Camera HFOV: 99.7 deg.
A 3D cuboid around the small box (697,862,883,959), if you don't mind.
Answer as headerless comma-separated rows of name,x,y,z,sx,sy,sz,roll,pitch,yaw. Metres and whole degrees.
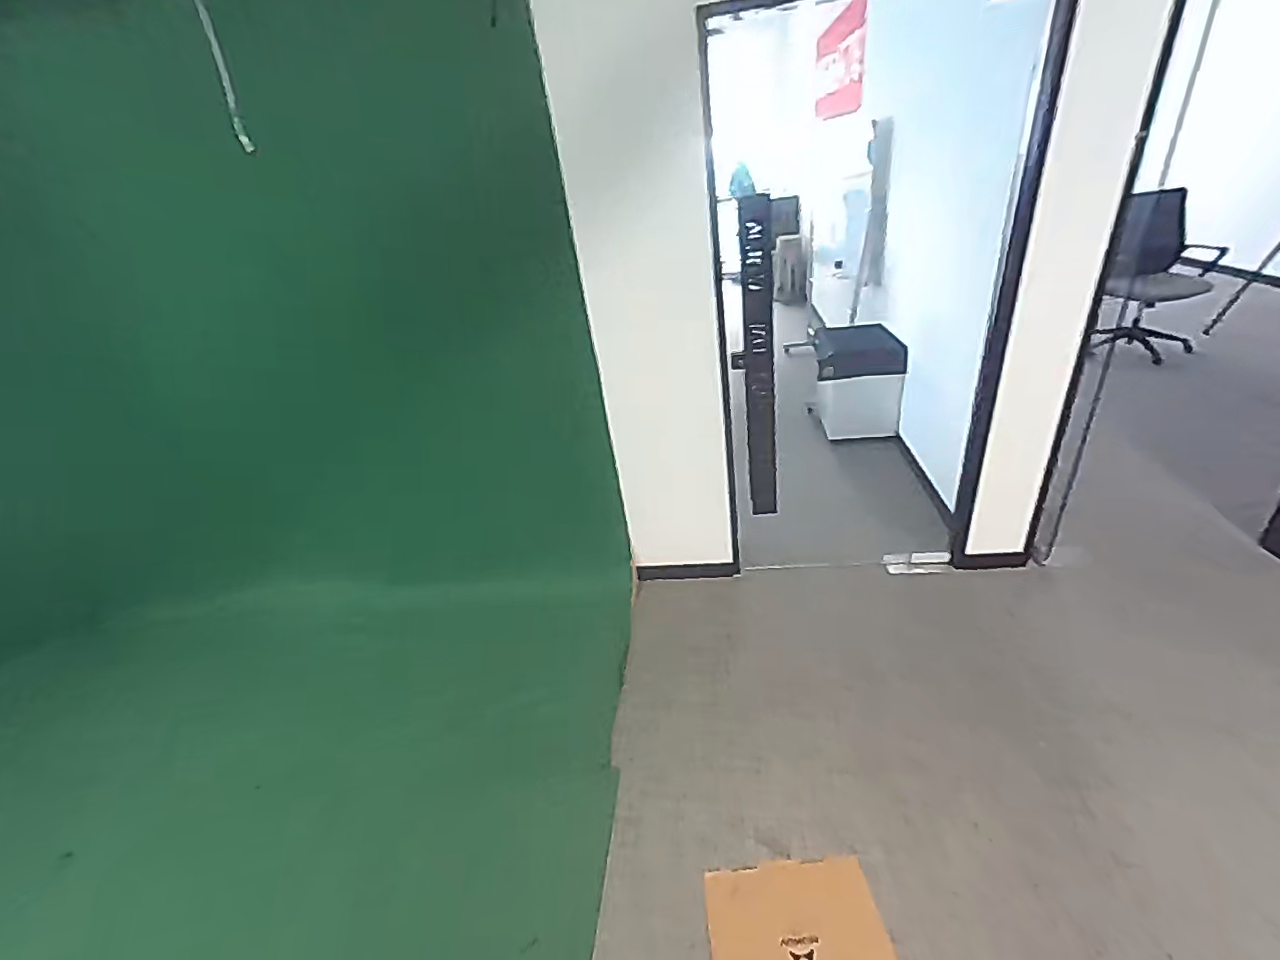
small box,0.149,0.517,0.520,0.168,0.176,0.179,-7,21,2
